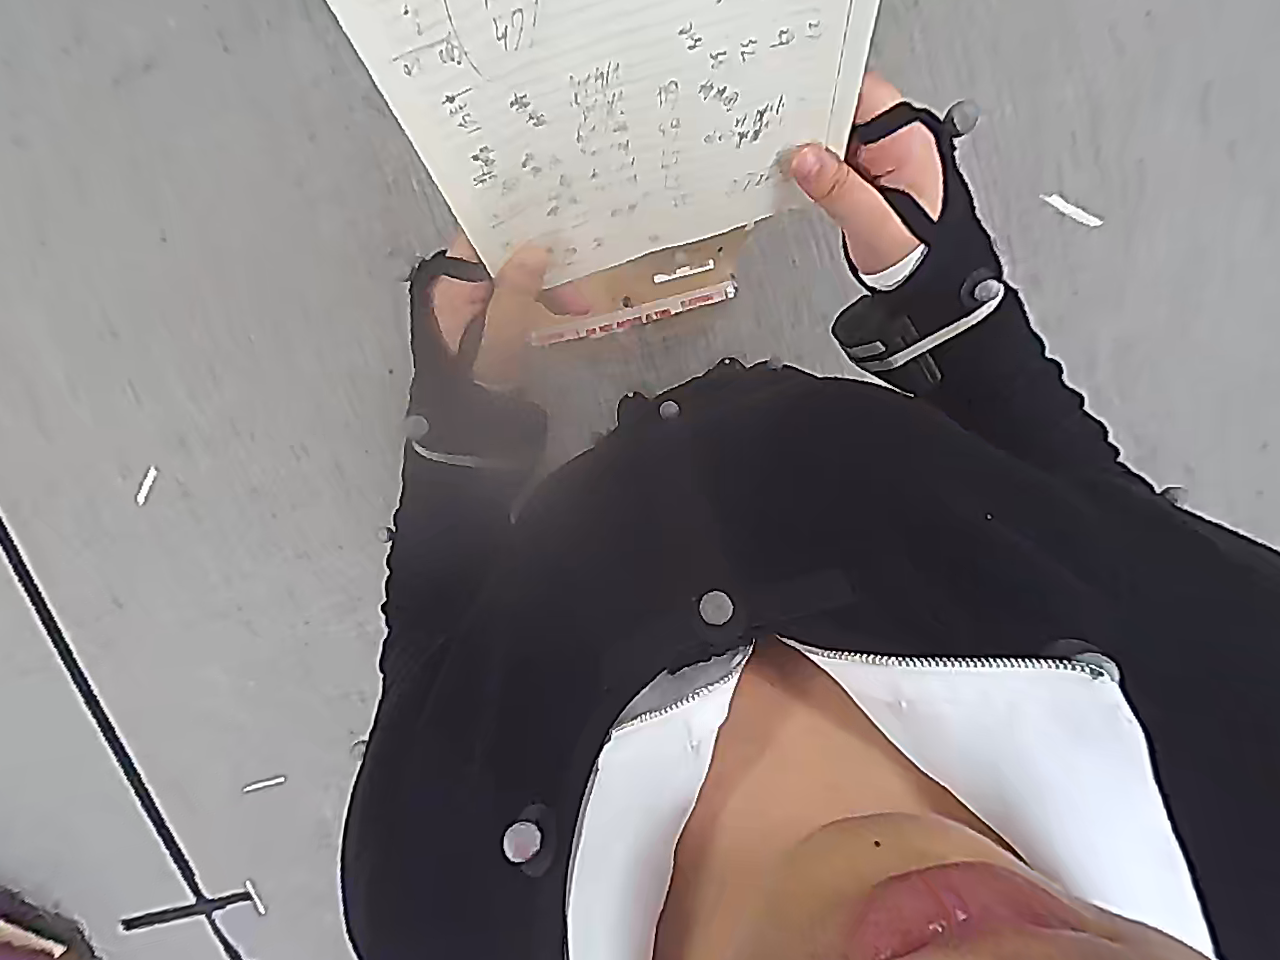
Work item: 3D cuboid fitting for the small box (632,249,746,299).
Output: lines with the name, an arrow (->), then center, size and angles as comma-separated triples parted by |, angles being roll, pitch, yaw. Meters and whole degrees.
small box -> 0.053, -0.399, 0.859 | 0.179, 0.176, 0.168 | -15, 101, 4

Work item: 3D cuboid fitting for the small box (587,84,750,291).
small box -> 0.033, -0.360, 0.699 | 0.168, 0.176, 0.179 | -11, 102, 3
